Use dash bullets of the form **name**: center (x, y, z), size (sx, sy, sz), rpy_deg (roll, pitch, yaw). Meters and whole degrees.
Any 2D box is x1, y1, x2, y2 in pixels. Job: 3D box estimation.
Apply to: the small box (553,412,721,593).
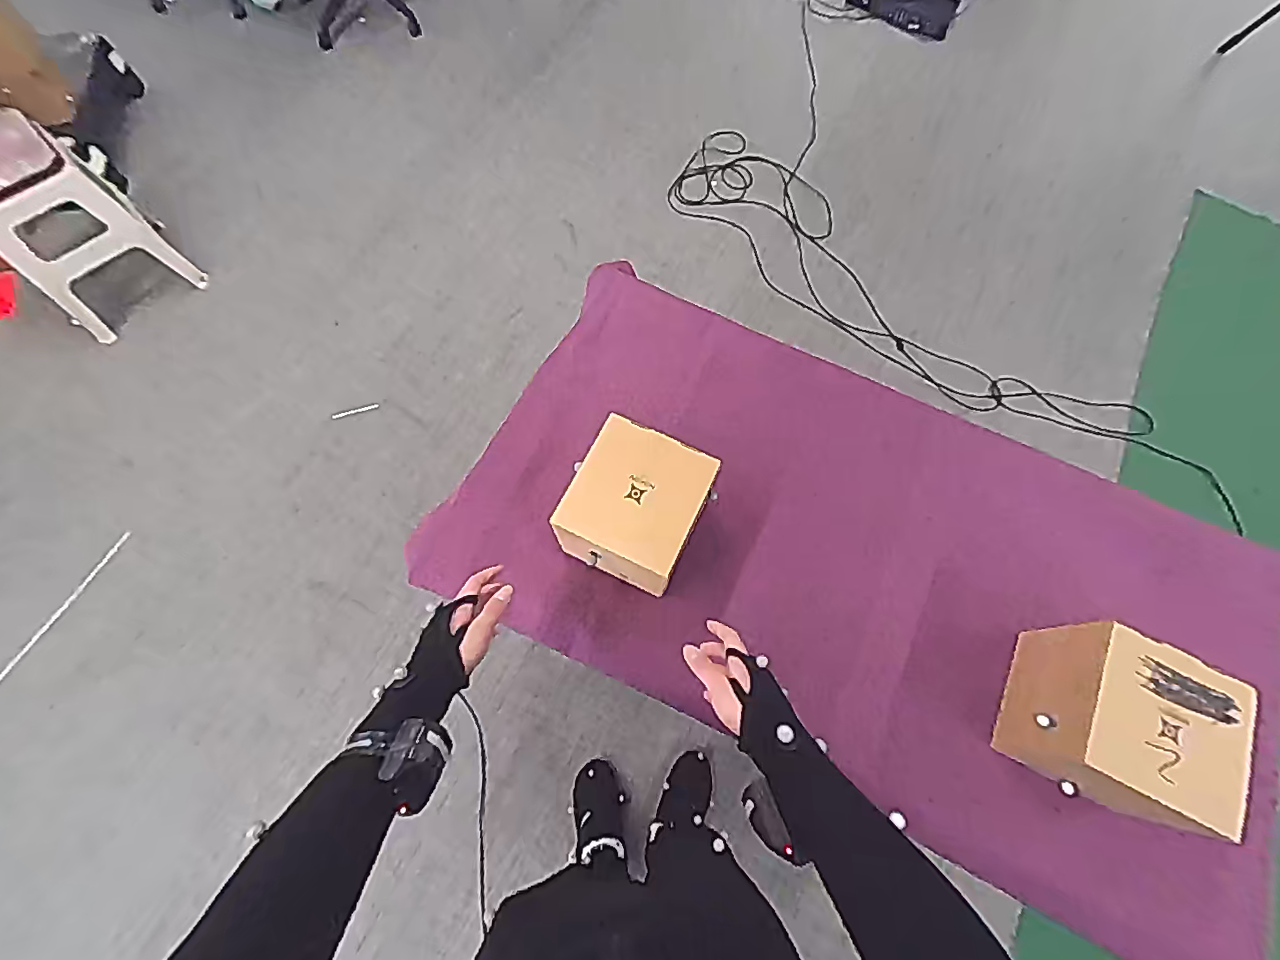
- **small box**: center (-0.002, 0.041, 0.768), size (0.168, 0.176, 0.179), rpy_deg (25, 69, 8)
